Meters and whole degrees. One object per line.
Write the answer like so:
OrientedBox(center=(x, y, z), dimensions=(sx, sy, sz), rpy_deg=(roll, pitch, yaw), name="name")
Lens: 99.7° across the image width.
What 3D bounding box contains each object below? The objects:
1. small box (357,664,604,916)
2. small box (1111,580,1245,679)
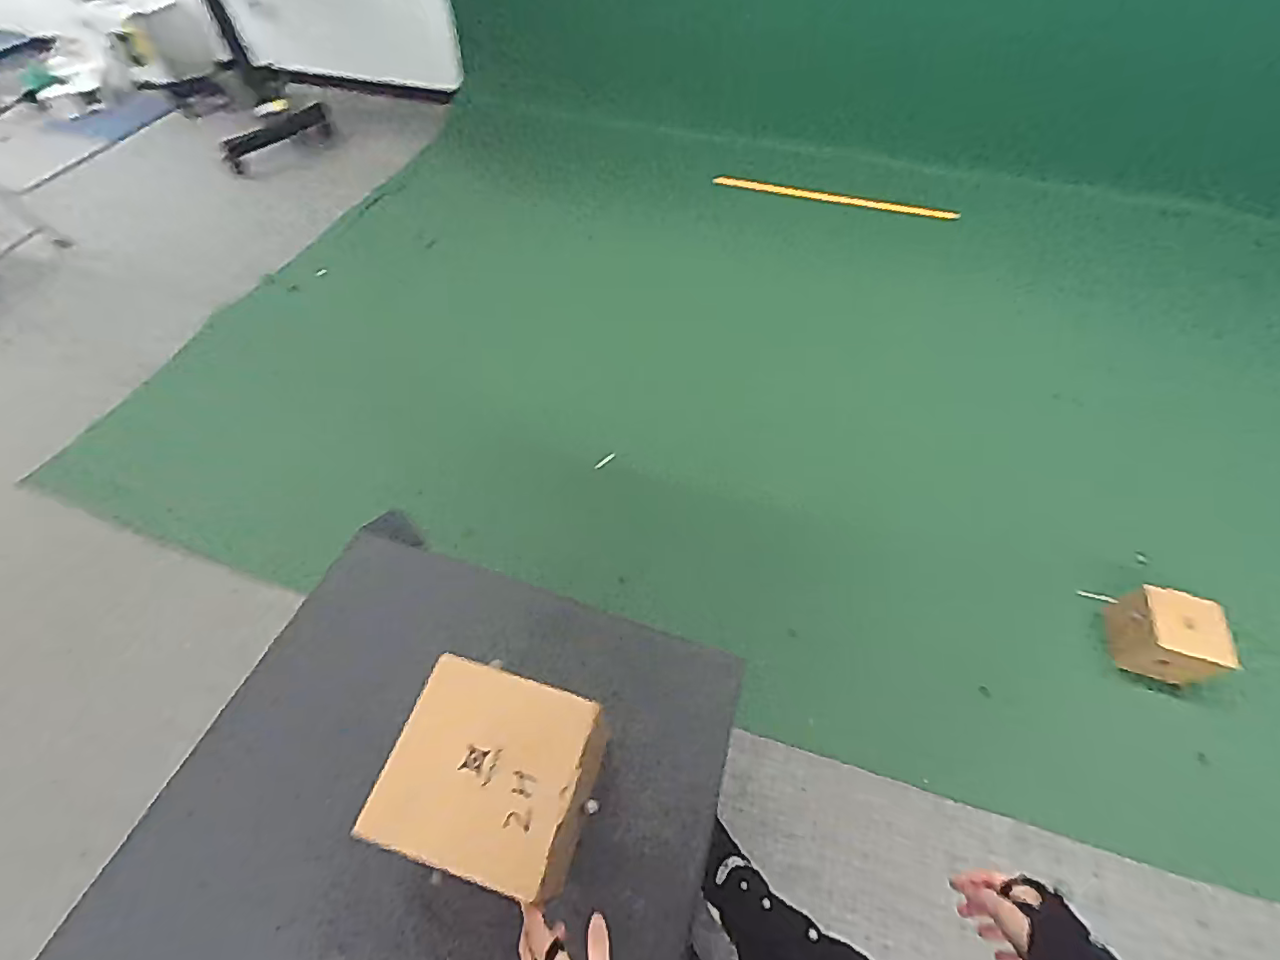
OrientedBox(center=(-0.149, 0.325, 0.577), dimensions=(0.179, 0.176, 0.168), rpy_deg=(18, 58, 10), name="small box")
OrientedBox(center=(1.370, 0.389, 1.393), dimensions=(0.168, 0.176, 0.179), rpy_deg=(14, 55, 11), name="small box")
